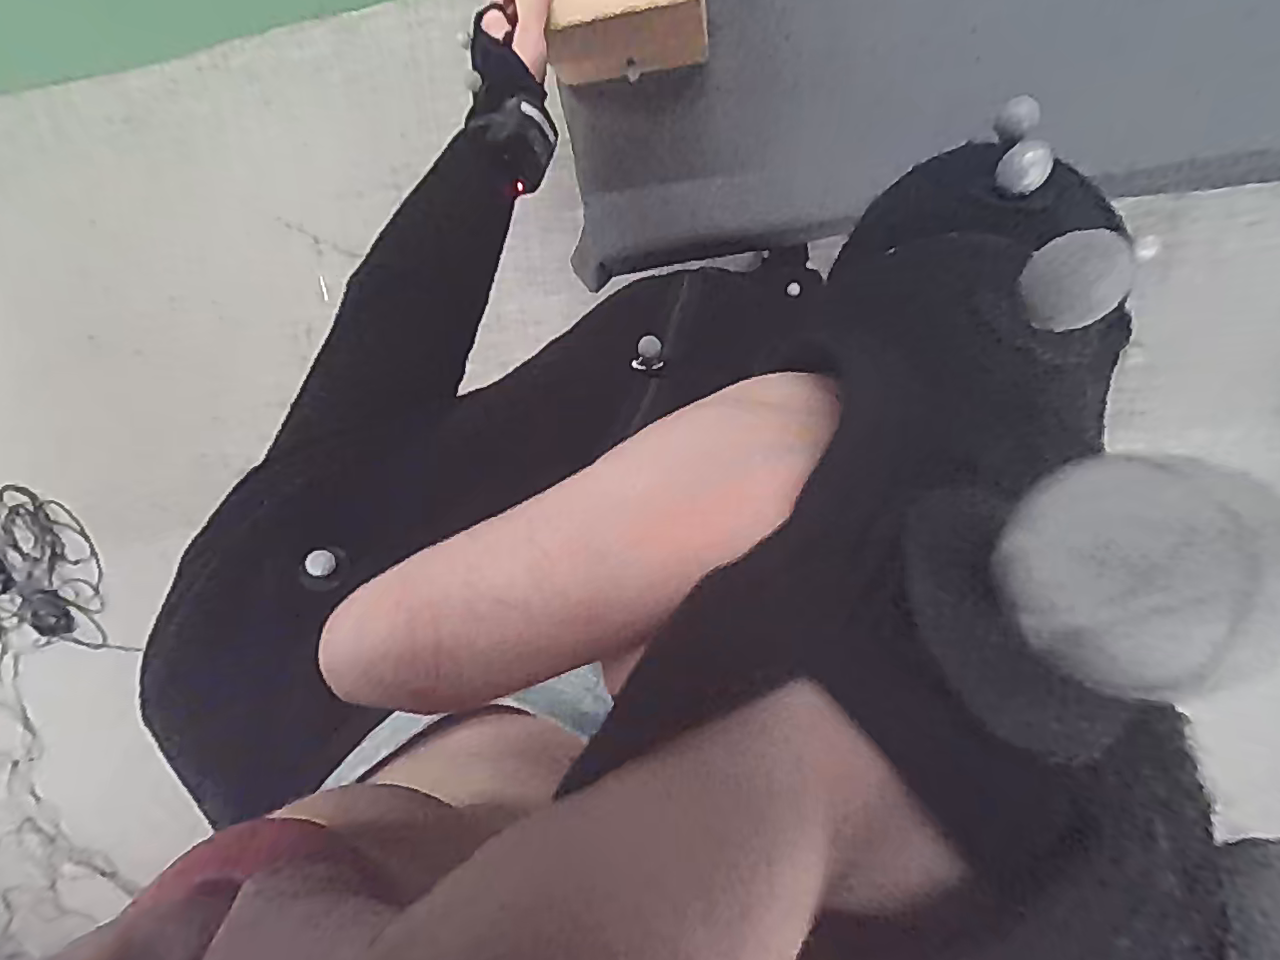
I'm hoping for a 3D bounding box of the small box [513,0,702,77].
[{"bbox_3d":[-0.029,-0.538,0.542,0.179,0.176,0.168,-3,110,10],"label":"small box"}]
